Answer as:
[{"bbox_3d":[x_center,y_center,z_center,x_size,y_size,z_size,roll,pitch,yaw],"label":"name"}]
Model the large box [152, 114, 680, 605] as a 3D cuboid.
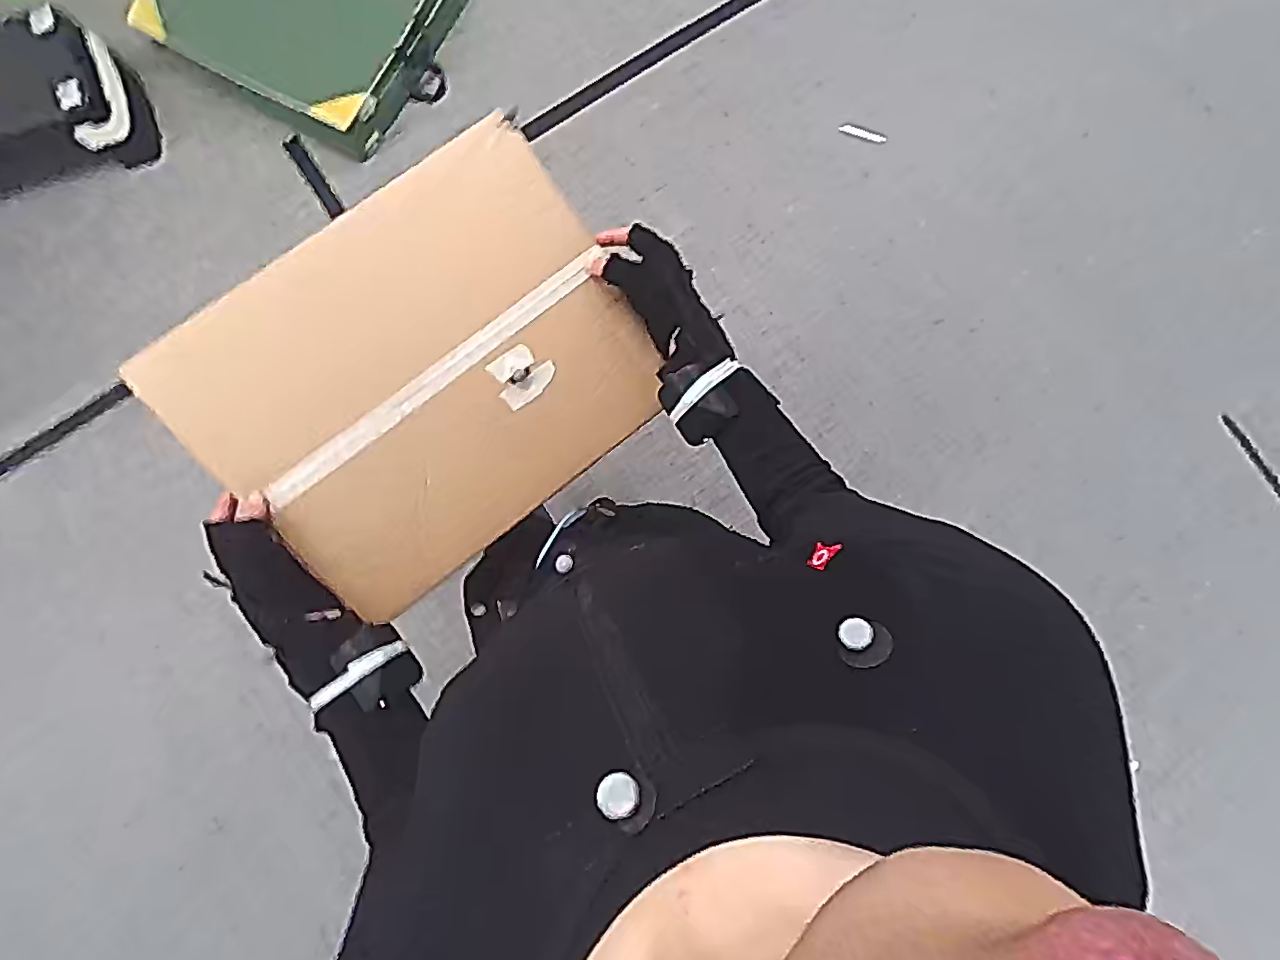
[{"bbox_3d":[-0.227,-0.126,0.673,0.408,0.320,0.320,-38,103,-6],"label":"large box"}]
